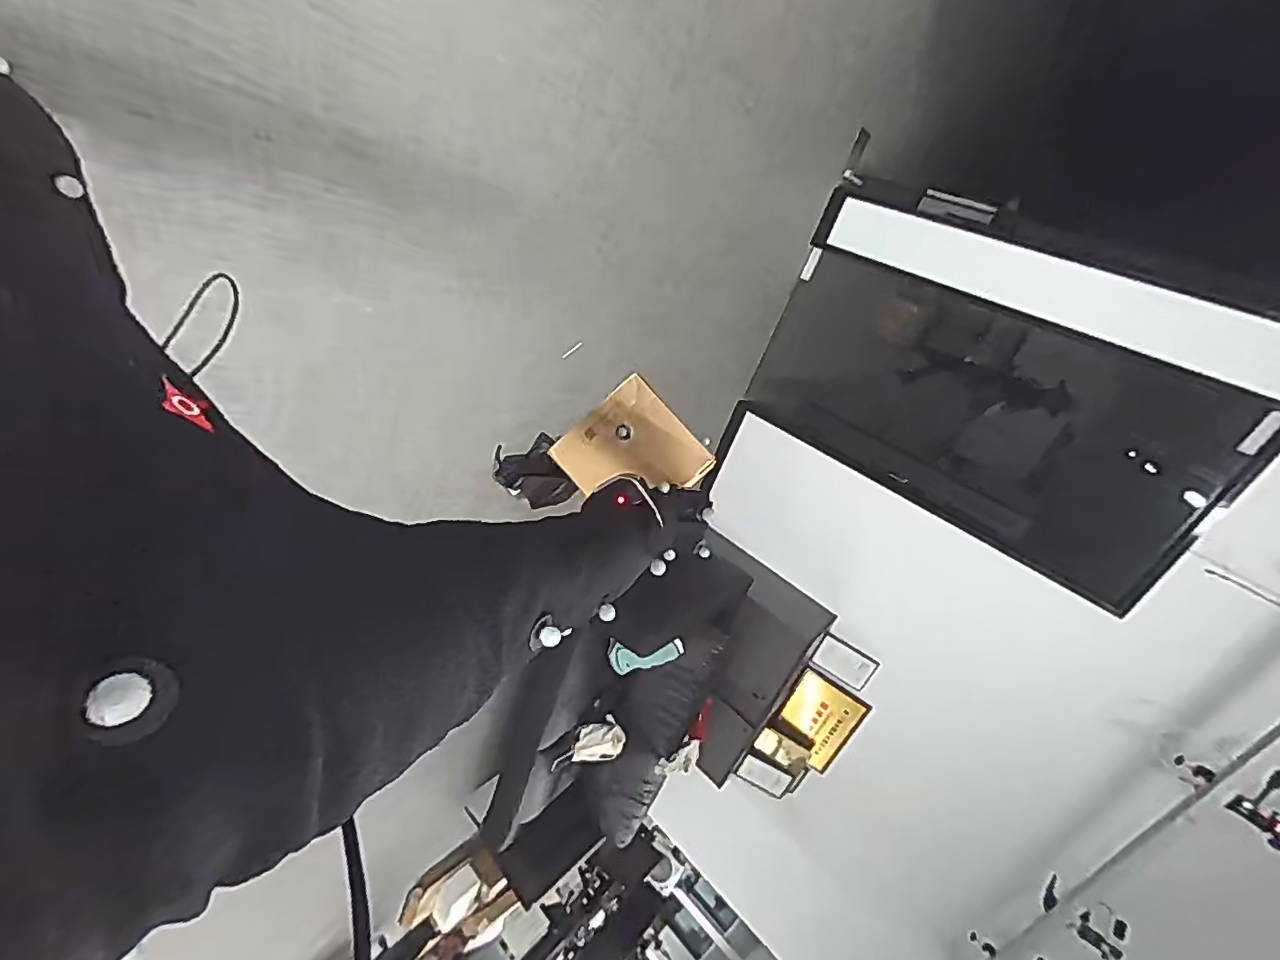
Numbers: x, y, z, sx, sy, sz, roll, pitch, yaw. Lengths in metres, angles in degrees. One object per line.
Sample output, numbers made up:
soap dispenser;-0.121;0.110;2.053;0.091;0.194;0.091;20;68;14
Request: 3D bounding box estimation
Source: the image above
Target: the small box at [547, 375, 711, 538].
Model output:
small box;-0.014;-0.037;0.817;0.168;0.176;0.179;-41;177;4
